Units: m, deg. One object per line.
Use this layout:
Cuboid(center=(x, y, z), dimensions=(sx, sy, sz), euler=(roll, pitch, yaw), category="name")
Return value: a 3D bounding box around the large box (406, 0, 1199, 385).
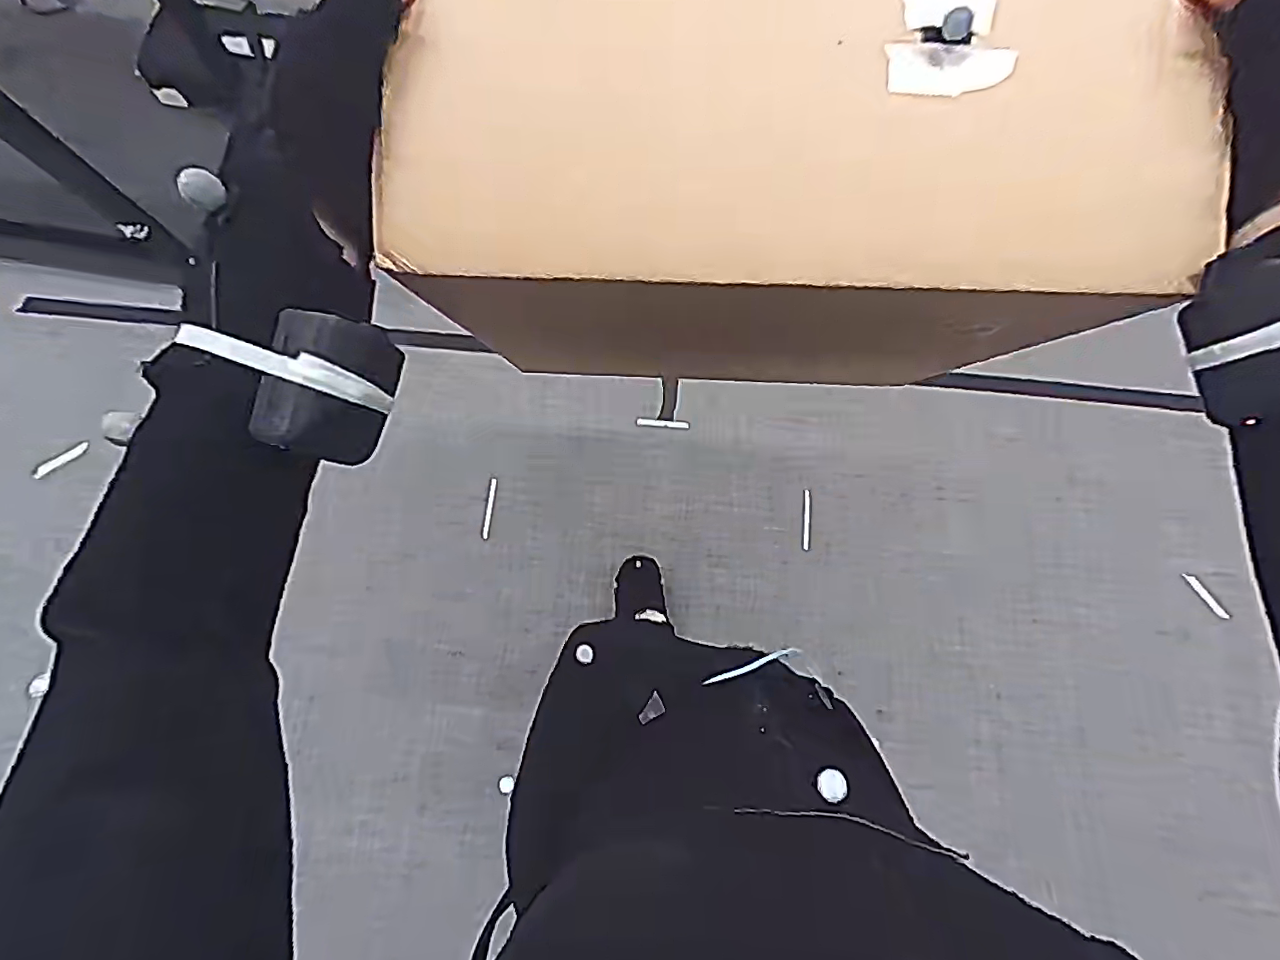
Cuboid(center=(0.079, -0.250, 0.422), dimensions=(0.408, 0.320, 0.320), euler=(2, 93, 0), category="large box")
